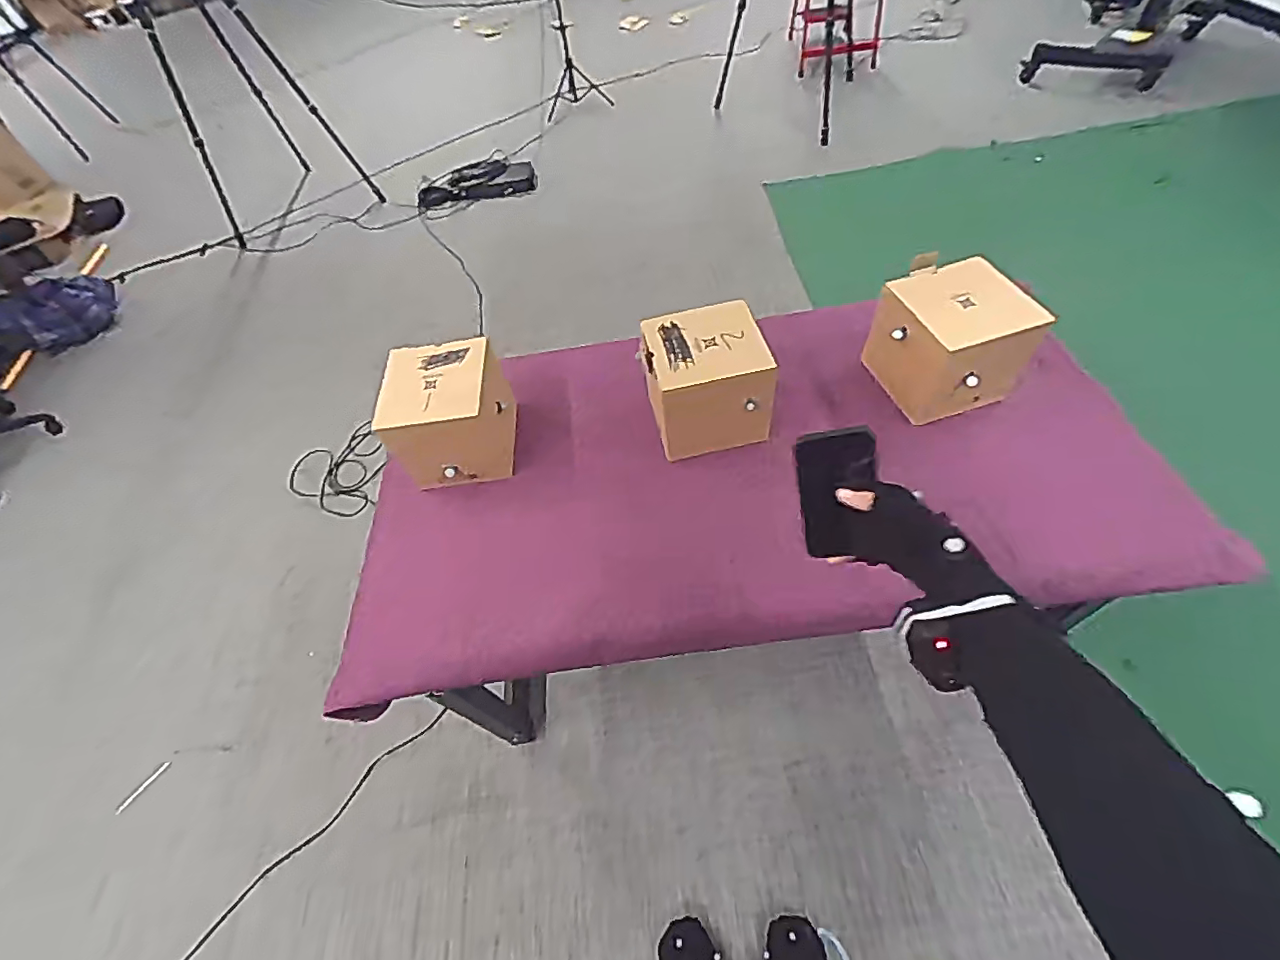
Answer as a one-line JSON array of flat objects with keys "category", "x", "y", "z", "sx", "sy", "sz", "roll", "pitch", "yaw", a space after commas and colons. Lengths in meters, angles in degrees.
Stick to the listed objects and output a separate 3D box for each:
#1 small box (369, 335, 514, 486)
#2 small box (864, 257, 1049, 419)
[{"category": "small box", "x": -0.316, "y": -0.112, "z": 0.903, "sx": 0.168, "sy": 0.176, "sz": 0.179, "roll": -7, "pitch": 56, "yaw": 3}, {"category": "small box", "x": 0.491, "y": -0.219, "z": 0.871, "sx": 0.168, "sy": 0.176, "sz": 0.179, "roll": -17, "pitch": 54, "yaw": -3}]
